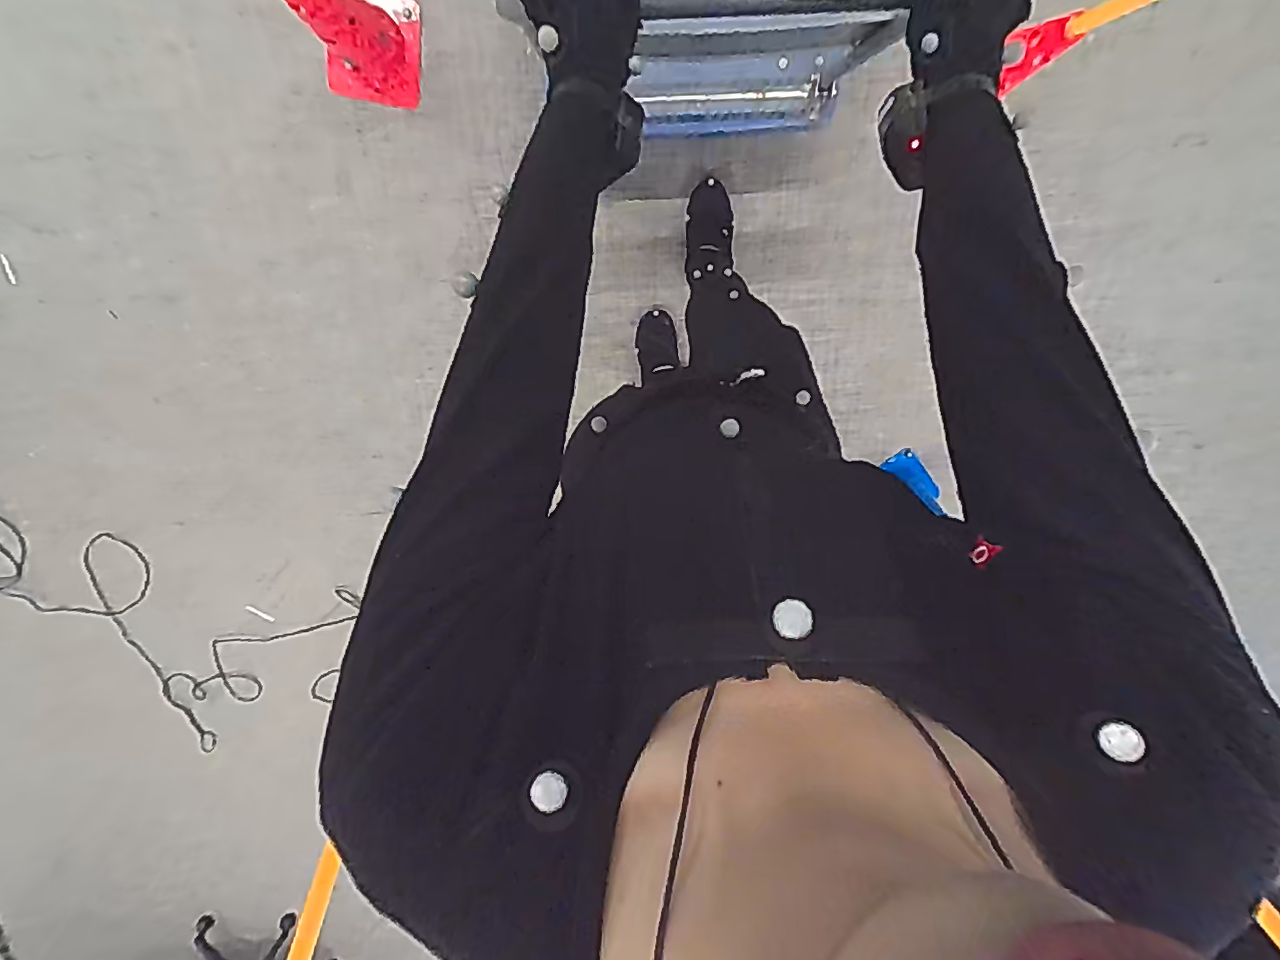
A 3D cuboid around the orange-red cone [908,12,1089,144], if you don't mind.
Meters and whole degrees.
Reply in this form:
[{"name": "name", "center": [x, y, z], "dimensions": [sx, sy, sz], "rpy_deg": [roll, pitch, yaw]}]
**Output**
[{"name": "orange-red cone", "center": [0.713, -0.803, 1.039], "dimensions": [0.198, 0.360, 0.199], "rpy_deg": [8, 113, -3]}]
